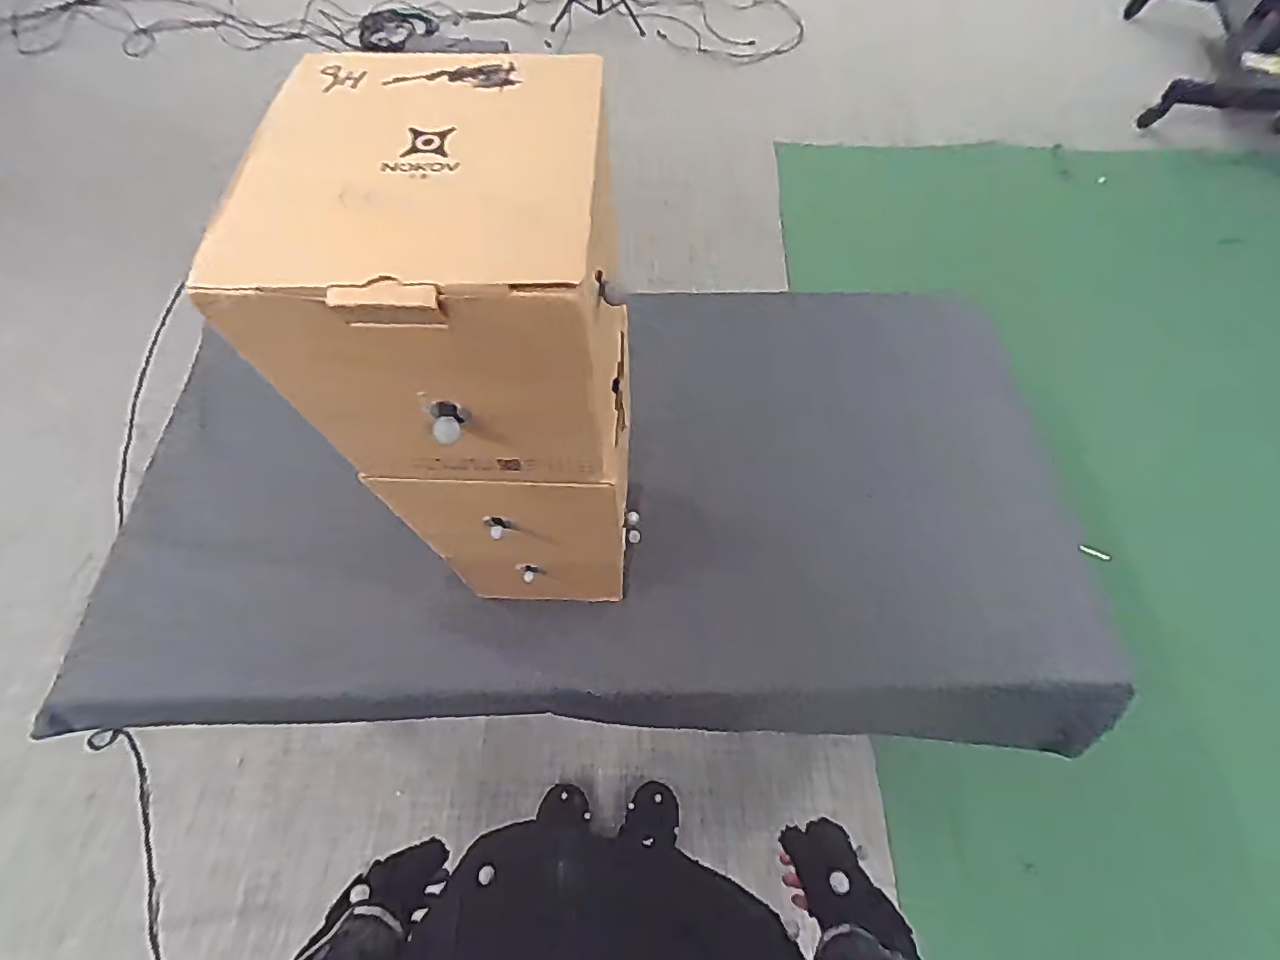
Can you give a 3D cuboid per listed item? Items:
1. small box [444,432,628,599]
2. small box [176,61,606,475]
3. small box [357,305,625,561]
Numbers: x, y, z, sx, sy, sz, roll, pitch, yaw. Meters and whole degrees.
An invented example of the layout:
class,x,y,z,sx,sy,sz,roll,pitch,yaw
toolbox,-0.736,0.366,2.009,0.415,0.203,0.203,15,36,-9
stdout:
class,x,y,z,sx,sy,sz,roll,pitch,yaw
small box,-0.104,0.037,0.621,0.179,0.176,0.168,0,64,0
small box,-0.110,-0.111,0.329,0.168,0.176,0.179,0,64,1
small box,-0.104,-0.033,0.472,0.179,0.176,0.168,0,64,2
